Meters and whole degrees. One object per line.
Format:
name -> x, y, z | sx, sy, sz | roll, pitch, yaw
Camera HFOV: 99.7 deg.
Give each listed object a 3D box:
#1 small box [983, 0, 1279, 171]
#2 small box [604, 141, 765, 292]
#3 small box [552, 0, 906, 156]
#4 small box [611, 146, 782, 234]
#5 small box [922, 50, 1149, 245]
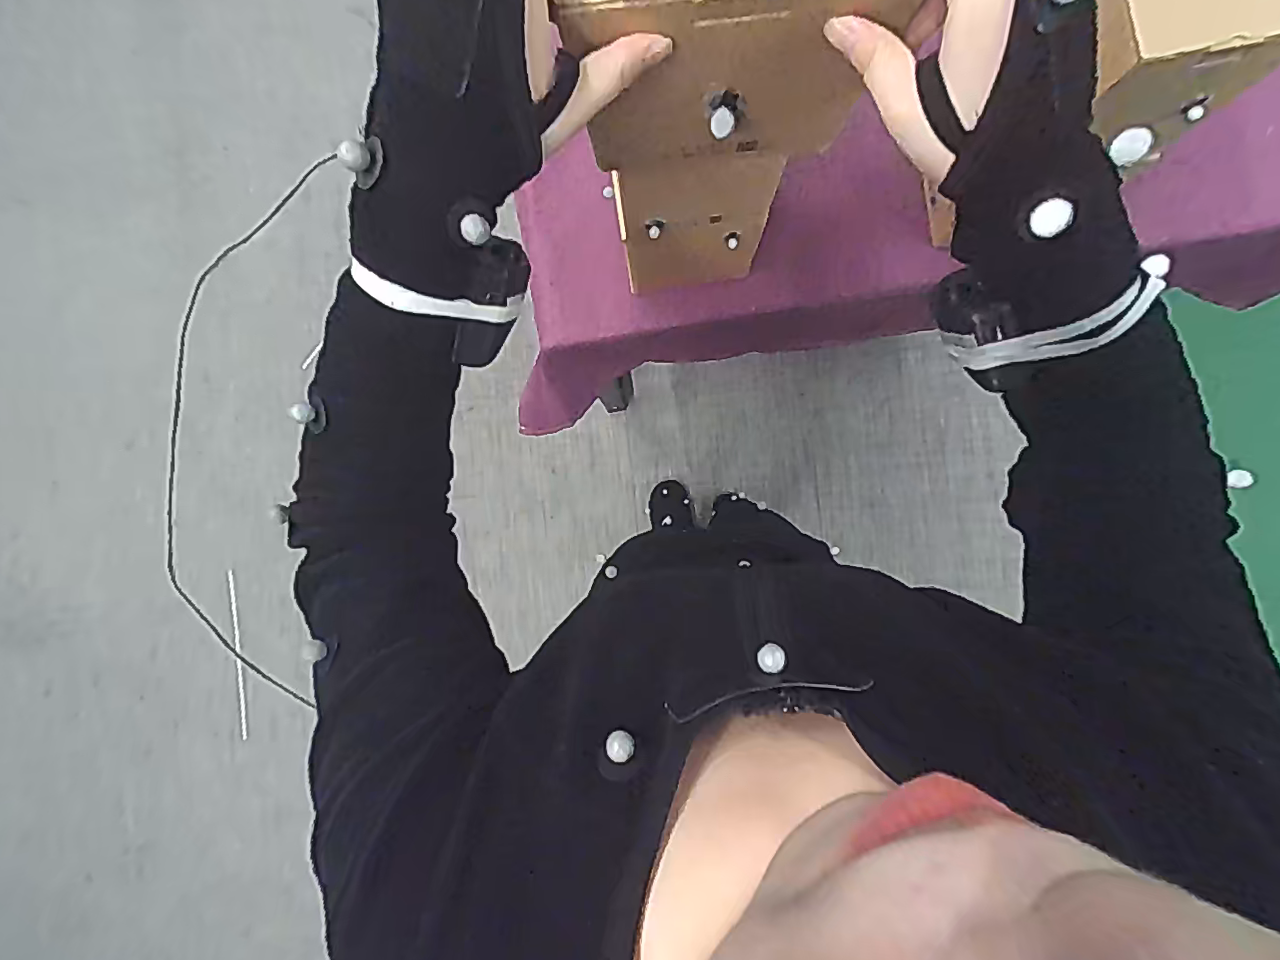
small box -> 0.483, -0.439, 0.540 | 0.168, 0.176, 0.179 | -9, 87, 1
small box -> 0.054, -0.368, 0.720 | 0.179, 0.176, 0.168 | -9, 87, 1
small box -> 0.042, -0.303, 0.299 | 0.168, 0.176, 0.179 | -3, 99, 3
small box -> 0.049, -0.377, 0.556 | 0.168, 0.176, 0.179 | -9, 86, 1
small box -> 0.490, -0.427, 0.702 | 0.179, 0.176, 0.168 | -7, 88, 2
